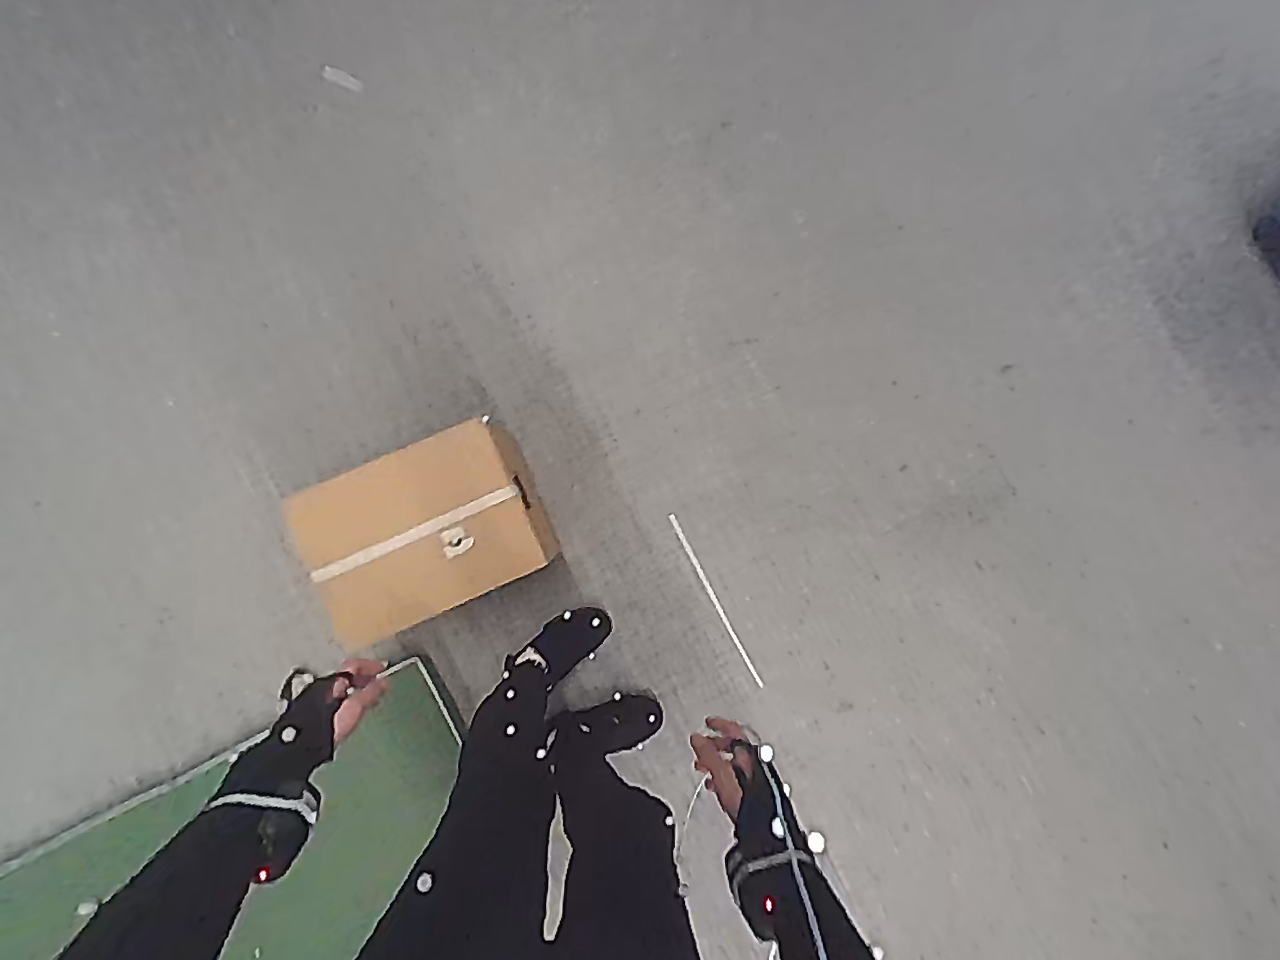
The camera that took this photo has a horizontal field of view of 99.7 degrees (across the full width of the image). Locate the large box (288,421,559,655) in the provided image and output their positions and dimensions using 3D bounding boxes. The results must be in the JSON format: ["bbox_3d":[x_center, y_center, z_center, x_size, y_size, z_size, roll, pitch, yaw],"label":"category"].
[{"bbox_3d":[-0.426,0.113,1.162,0.408,0.320,0.320,-24,90,-5],"label":"large box"}]
